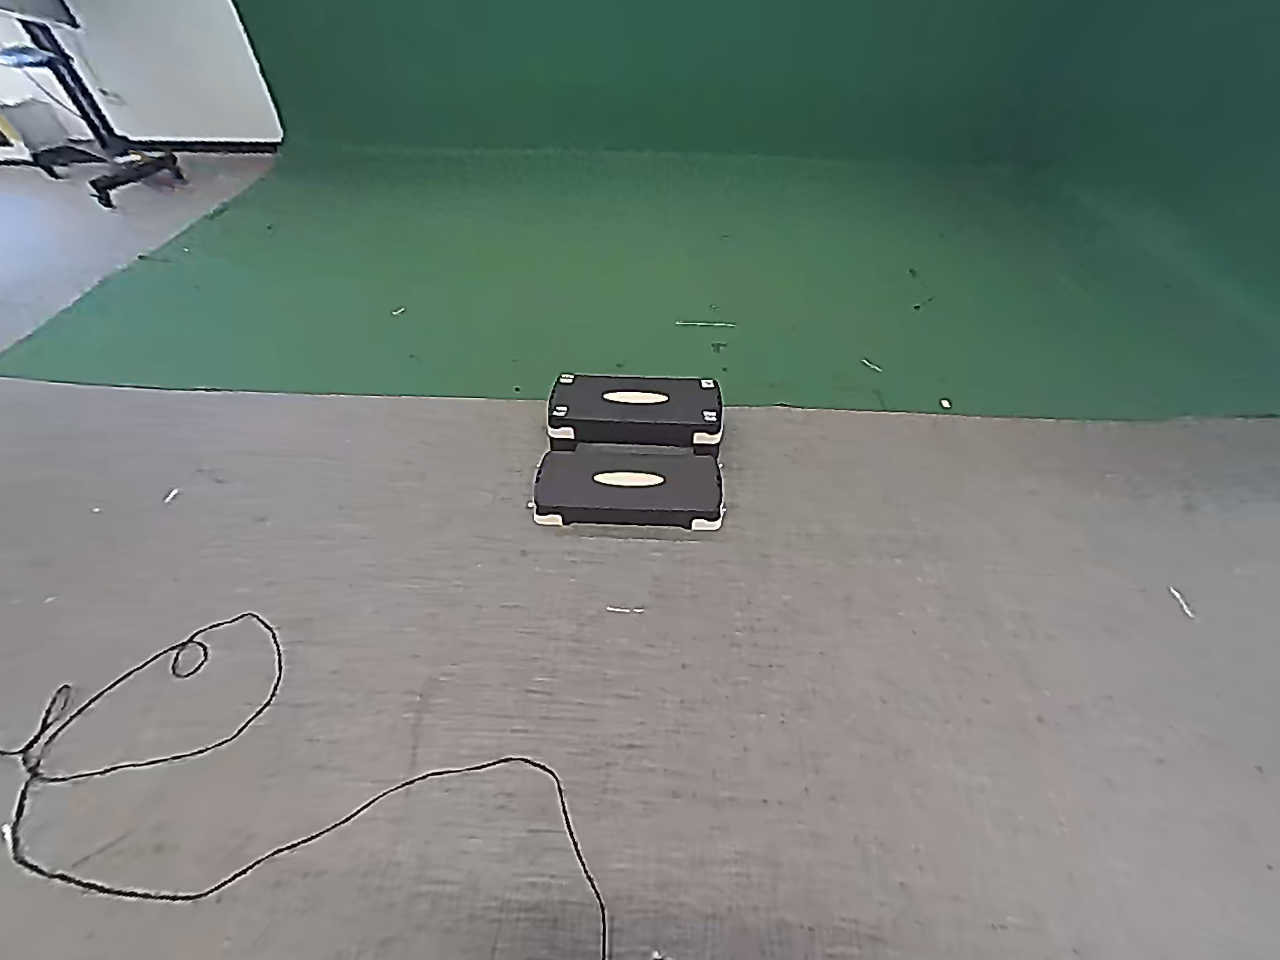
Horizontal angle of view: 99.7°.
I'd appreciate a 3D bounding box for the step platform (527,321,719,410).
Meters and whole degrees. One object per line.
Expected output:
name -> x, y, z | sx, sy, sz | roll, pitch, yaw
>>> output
step platform -> -0.059, -0.422, 2.006 | 0.684, 0.204, 0.286 | 2, 48, 2
